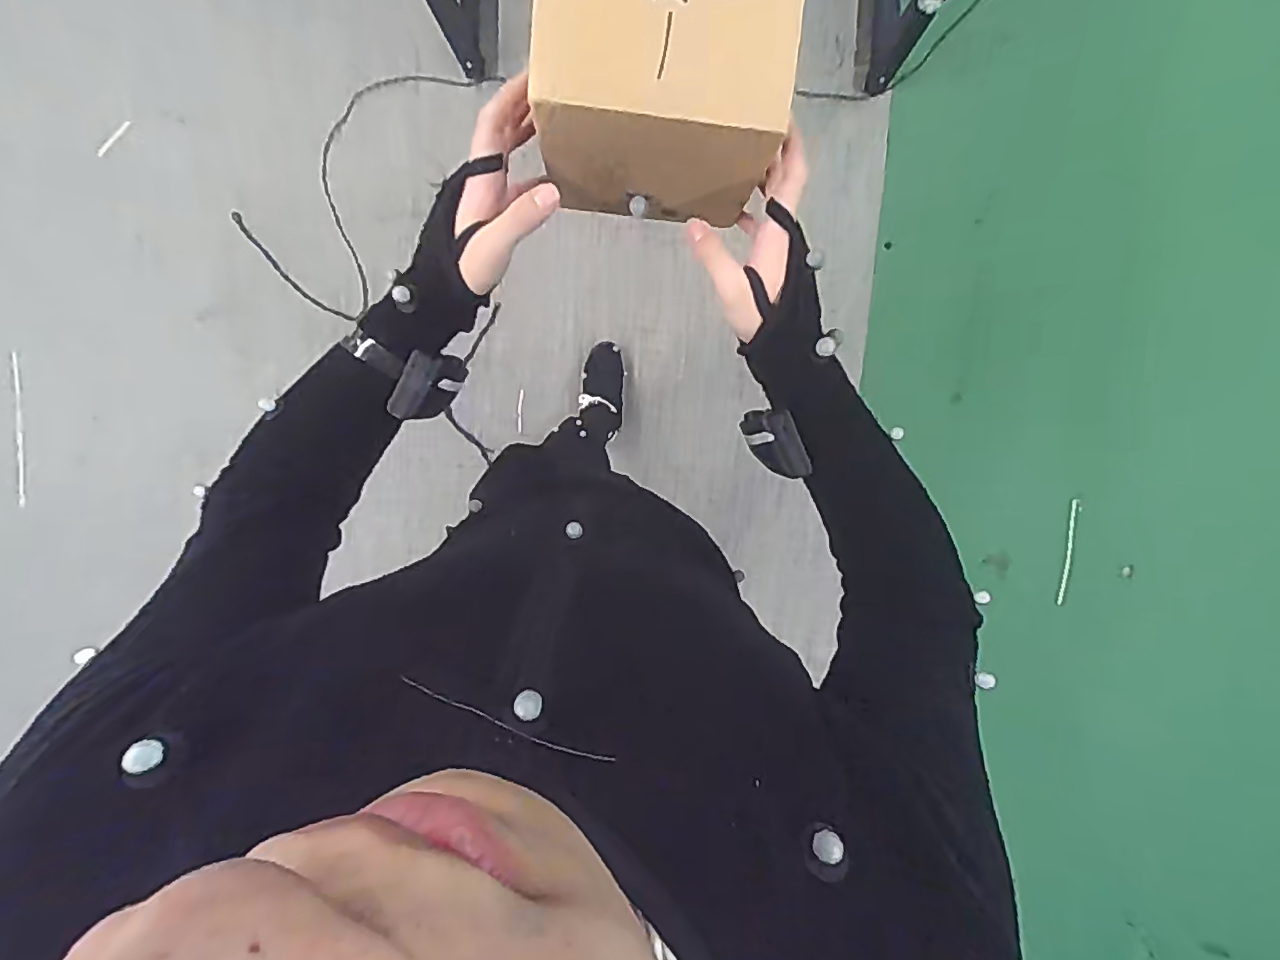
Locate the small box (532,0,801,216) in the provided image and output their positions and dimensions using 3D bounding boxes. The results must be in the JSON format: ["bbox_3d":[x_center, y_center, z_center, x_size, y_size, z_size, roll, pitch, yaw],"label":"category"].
[{"bbox_3d":[0.017,-0.331,0.412,0.168,0.176,0.179,5,96,-4],"label":"small box"}]

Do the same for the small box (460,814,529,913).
[{"bbox_3d":[-0.427,1.118,1.588,0.168,0.176,0.179,4,95,0],"label":"small box"}]
